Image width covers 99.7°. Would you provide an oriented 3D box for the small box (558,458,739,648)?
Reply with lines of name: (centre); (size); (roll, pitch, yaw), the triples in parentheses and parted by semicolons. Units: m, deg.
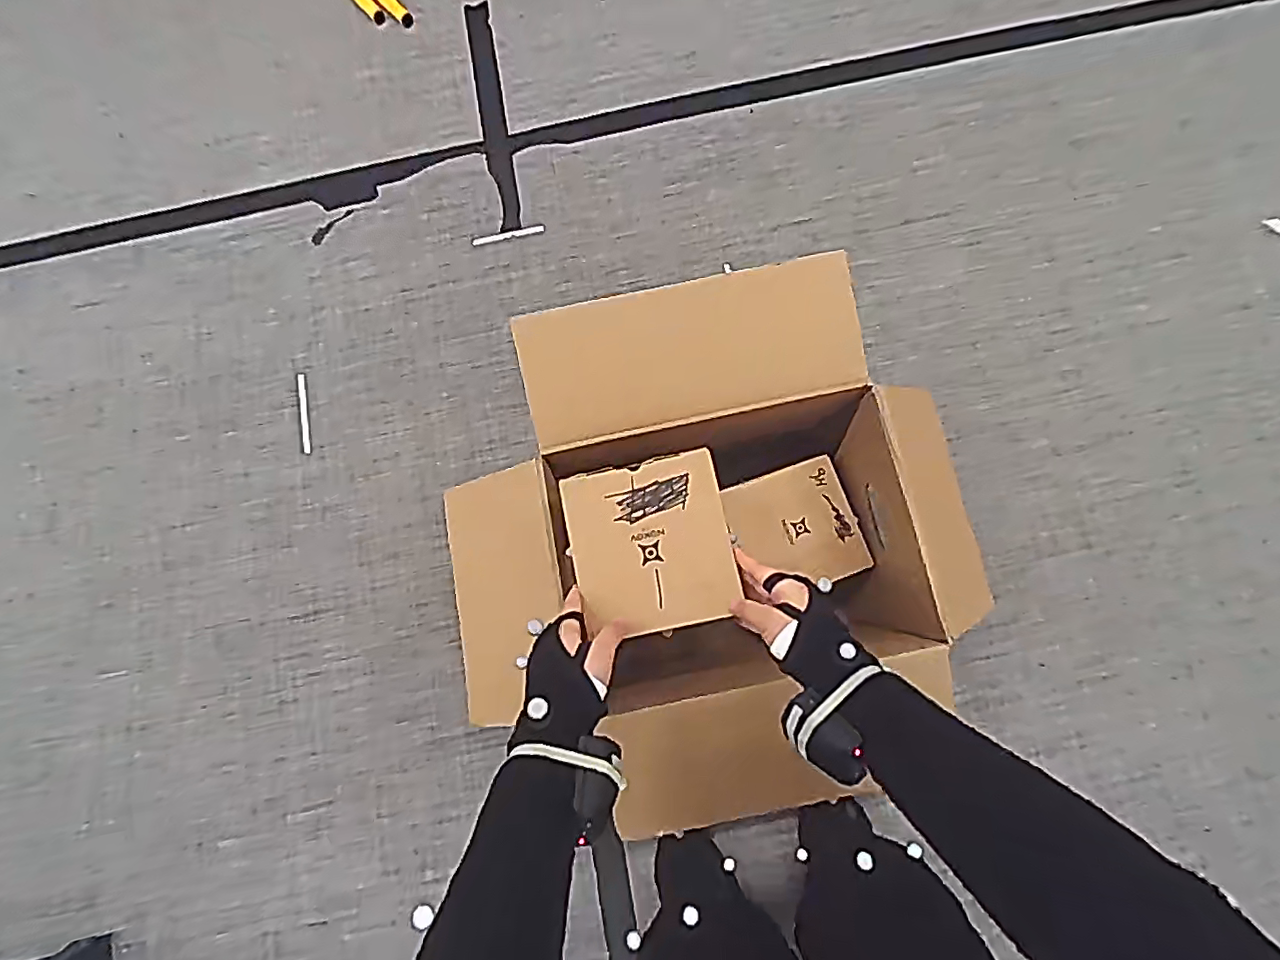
small box: (0.011, 0.088, 0.642); (0.168, 0.176, 0.179); (-12, 80, 3)
